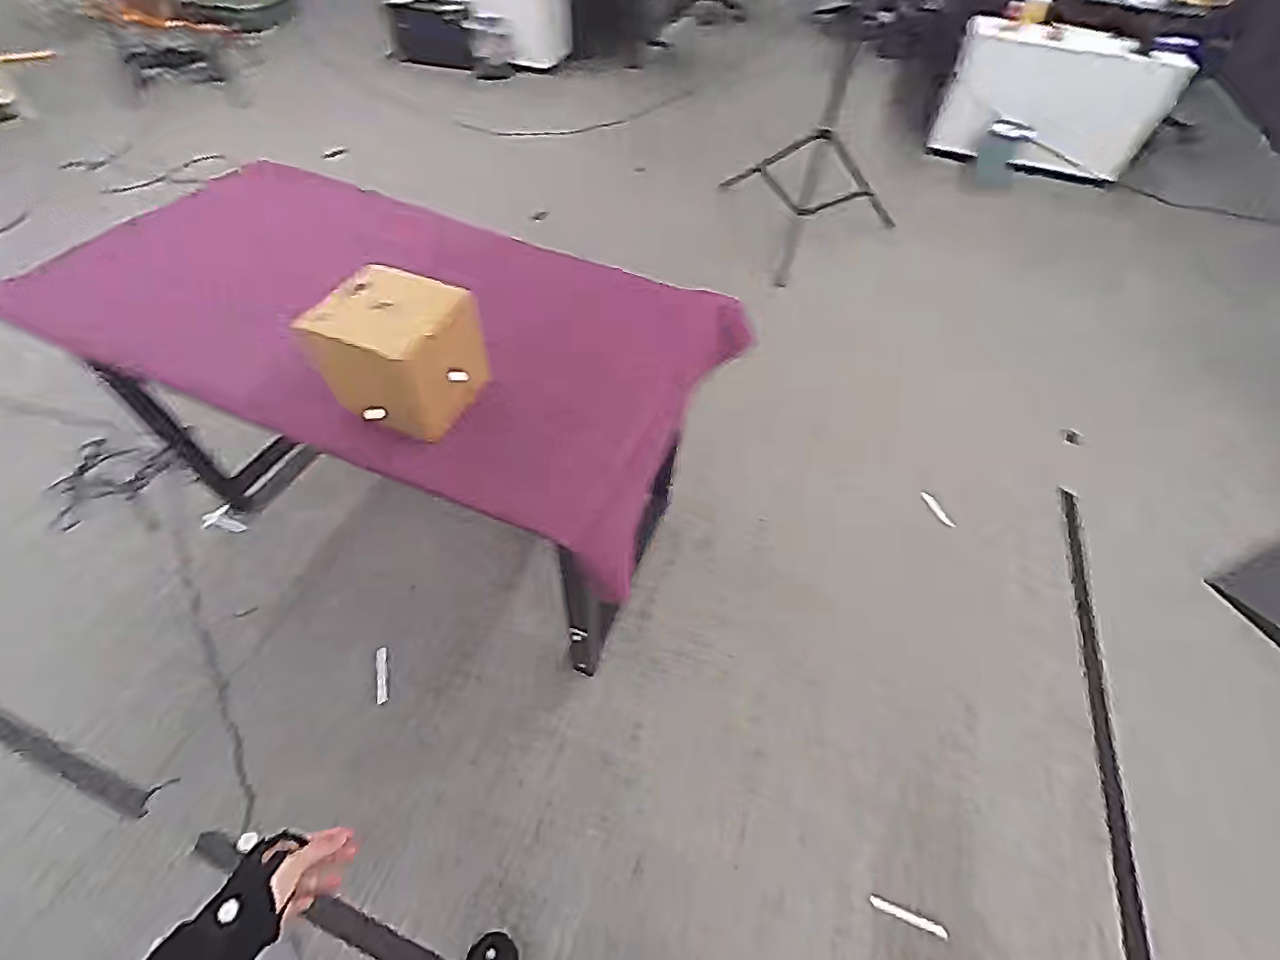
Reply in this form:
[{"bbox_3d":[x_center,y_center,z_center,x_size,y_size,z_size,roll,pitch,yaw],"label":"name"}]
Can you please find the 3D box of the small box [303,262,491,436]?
[{"bbox_3d":[-0.349,-0.192,0.820,0.179,0.176,0.168,21,55,11],"label":"small box"}]
